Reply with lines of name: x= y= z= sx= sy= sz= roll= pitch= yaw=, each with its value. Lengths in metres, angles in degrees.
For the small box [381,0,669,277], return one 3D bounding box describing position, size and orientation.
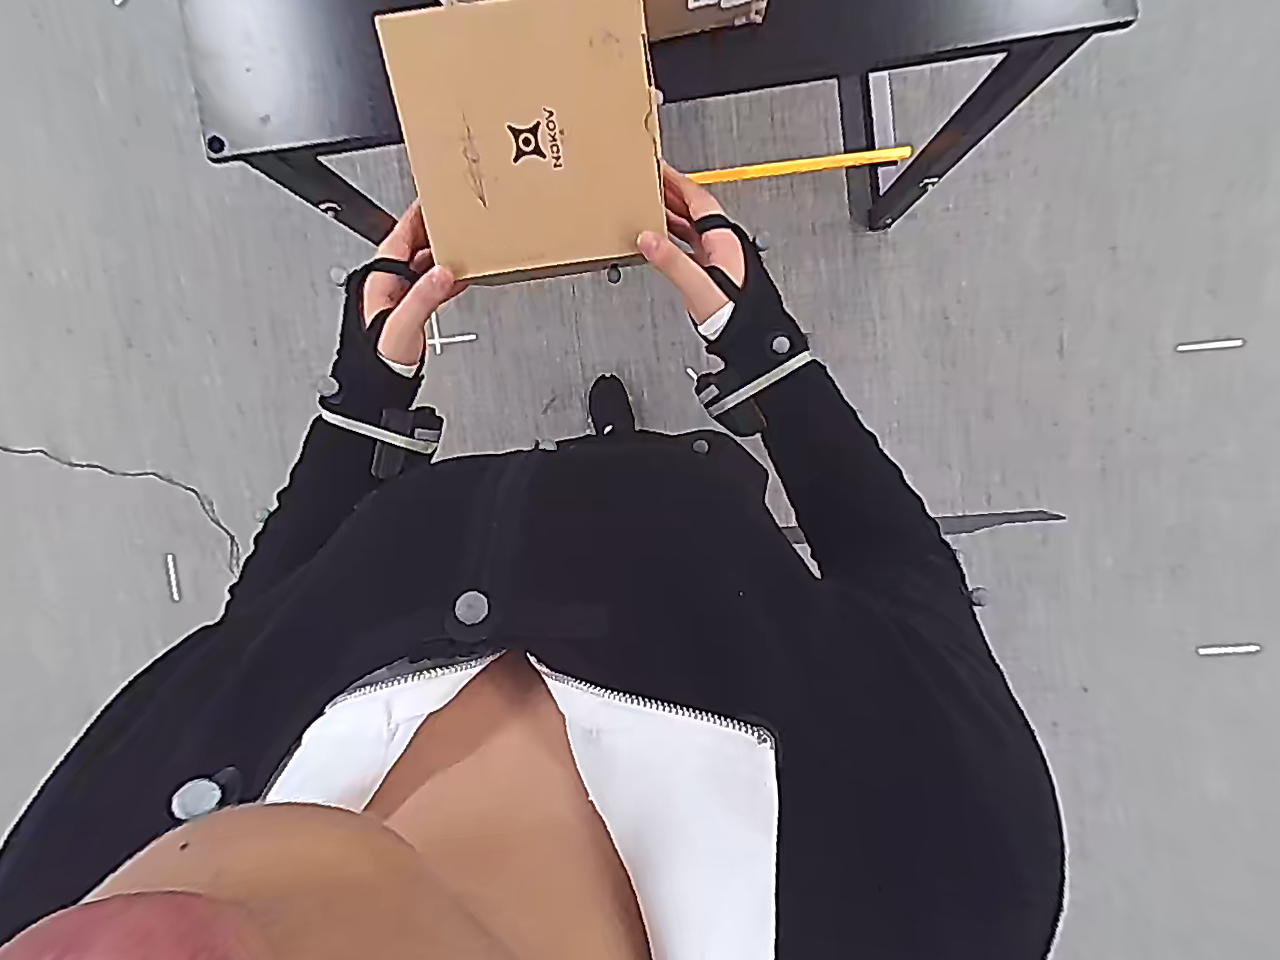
small box: x=-0.078 y=-0.270 z=0.454 sx=0.179 sy=0.176 sz=0.168 roll=-8 pitch=108 yaw=1
